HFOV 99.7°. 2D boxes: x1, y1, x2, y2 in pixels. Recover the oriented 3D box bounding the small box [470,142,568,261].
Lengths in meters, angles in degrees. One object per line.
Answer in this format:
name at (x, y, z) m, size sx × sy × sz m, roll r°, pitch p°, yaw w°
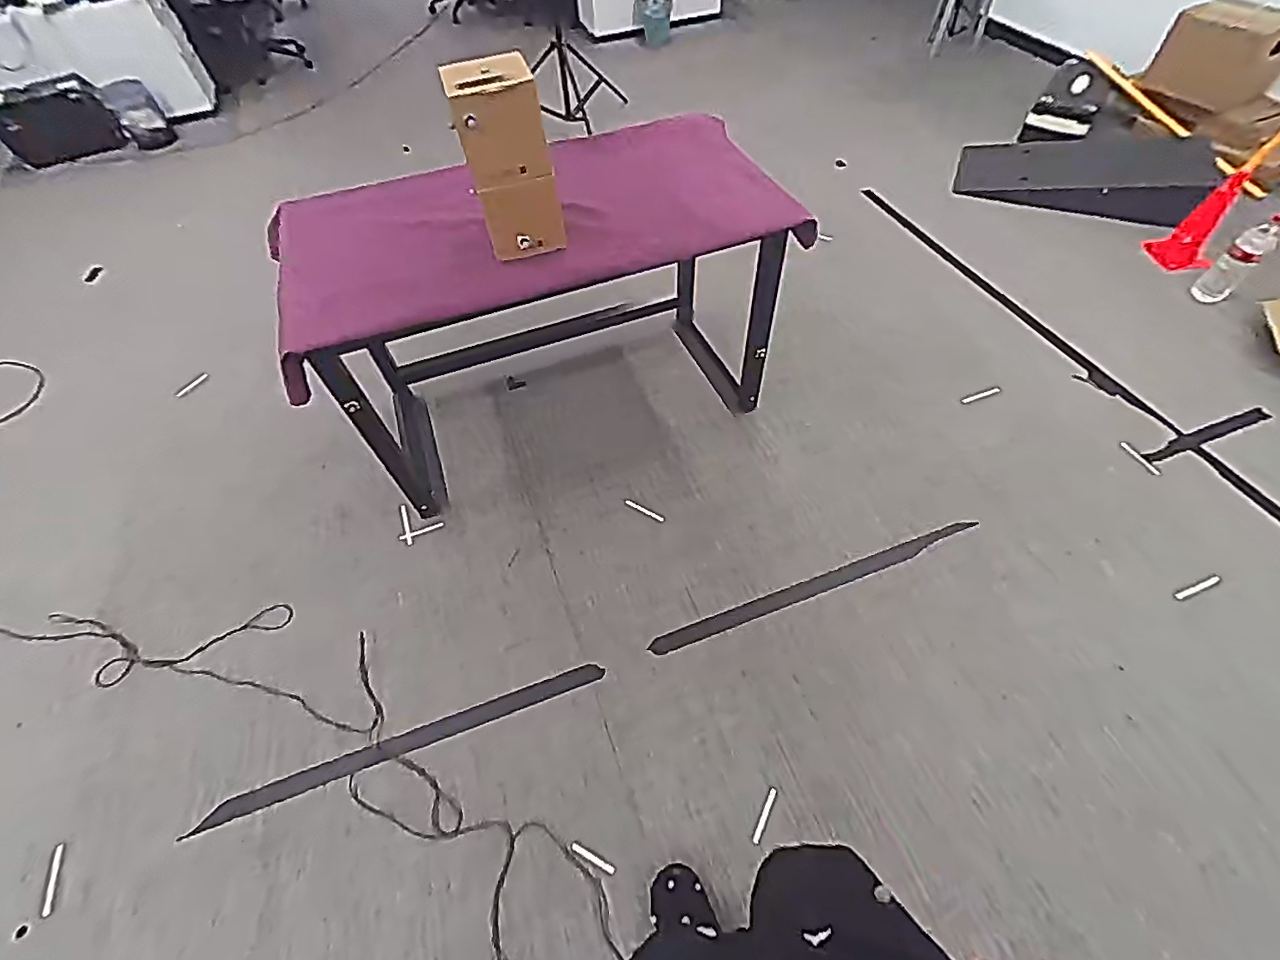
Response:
small box at (-0.273, -0.631, 1.232) m, size 0.168 × 0.176 × 0.179 m, roll -17°, pitch 56°, yaw -8°
